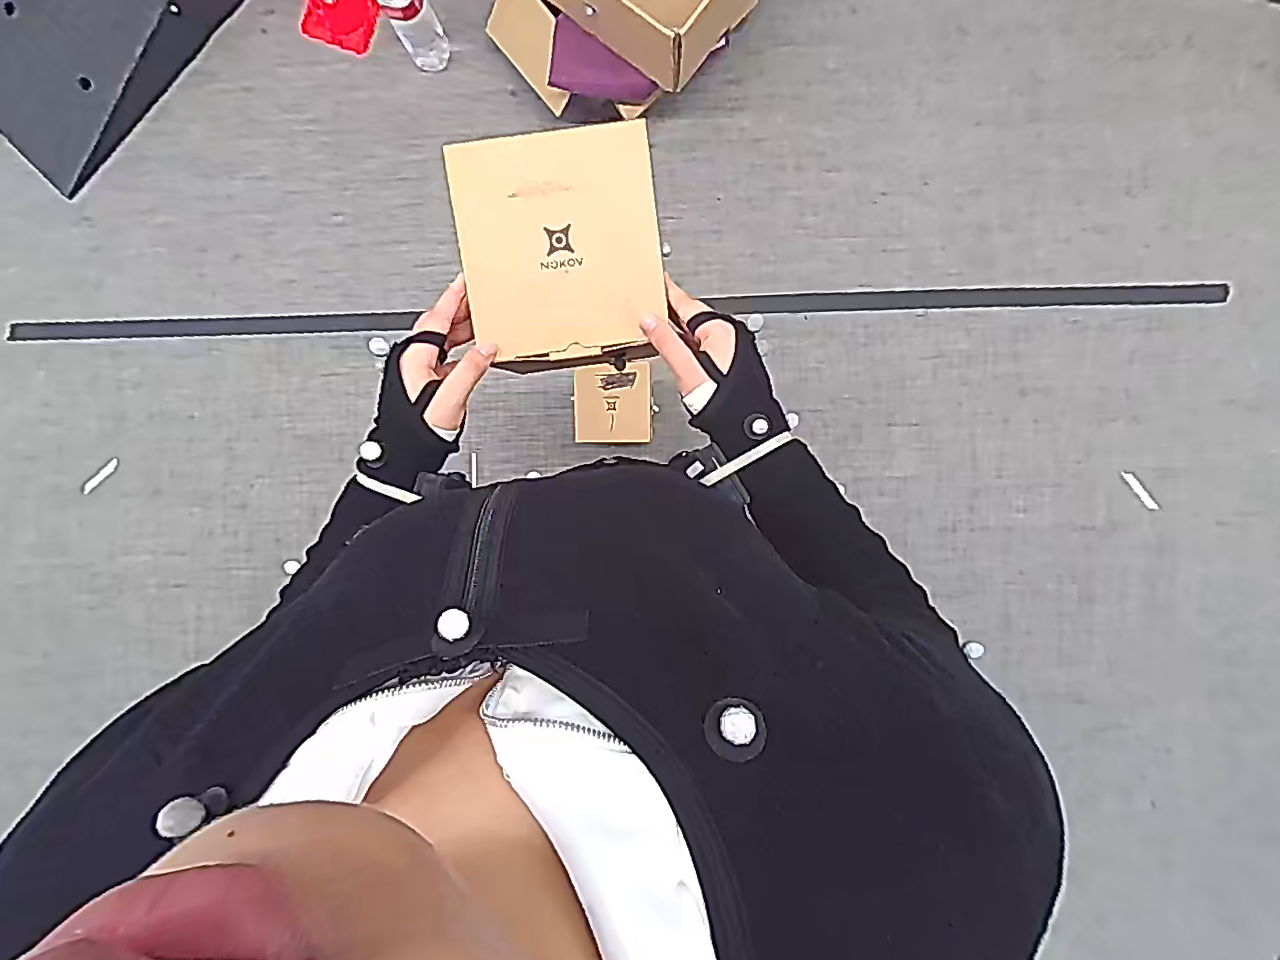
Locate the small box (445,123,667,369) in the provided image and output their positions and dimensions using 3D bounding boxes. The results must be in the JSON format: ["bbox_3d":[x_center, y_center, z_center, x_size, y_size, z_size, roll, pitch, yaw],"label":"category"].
[{"bbox_3d":[-0.068,-0.204,0.525,0.168,0.176,0.179,-8,98,-1],"label":"small box"}]

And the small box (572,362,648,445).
[{"bbox_3d":[-0.065,-0.170,1.245,0.168,0.176,0.179,0,94,1],"label":"small box"}]
